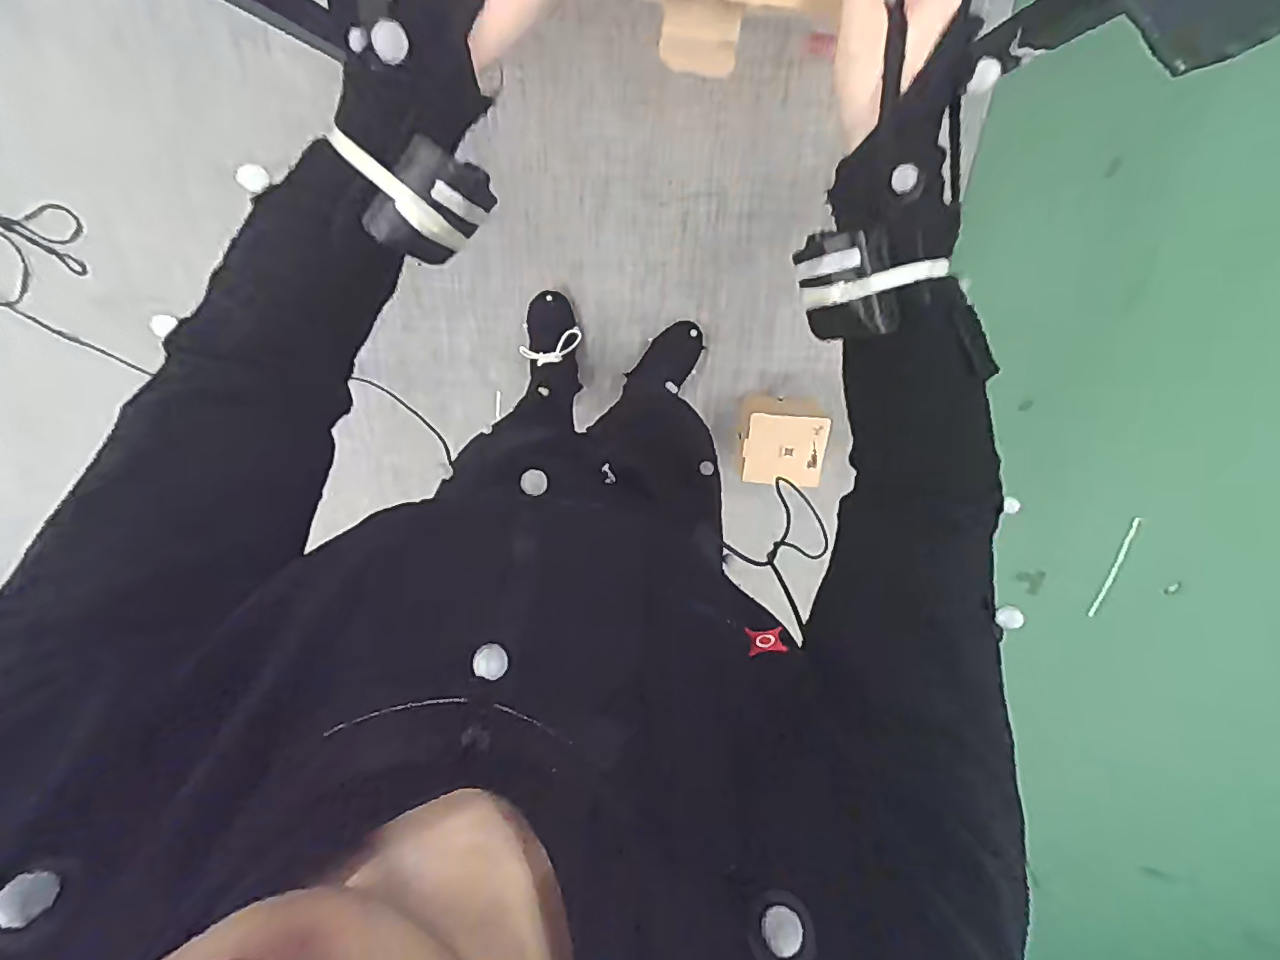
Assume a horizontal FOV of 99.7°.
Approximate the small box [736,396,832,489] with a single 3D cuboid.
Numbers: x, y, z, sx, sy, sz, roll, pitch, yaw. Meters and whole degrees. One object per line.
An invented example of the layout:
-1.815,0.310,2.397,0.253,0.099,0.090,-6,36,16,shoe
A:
0.324,-0.093,1.258,0.179,0.176,0.168,5,114,2,small box
